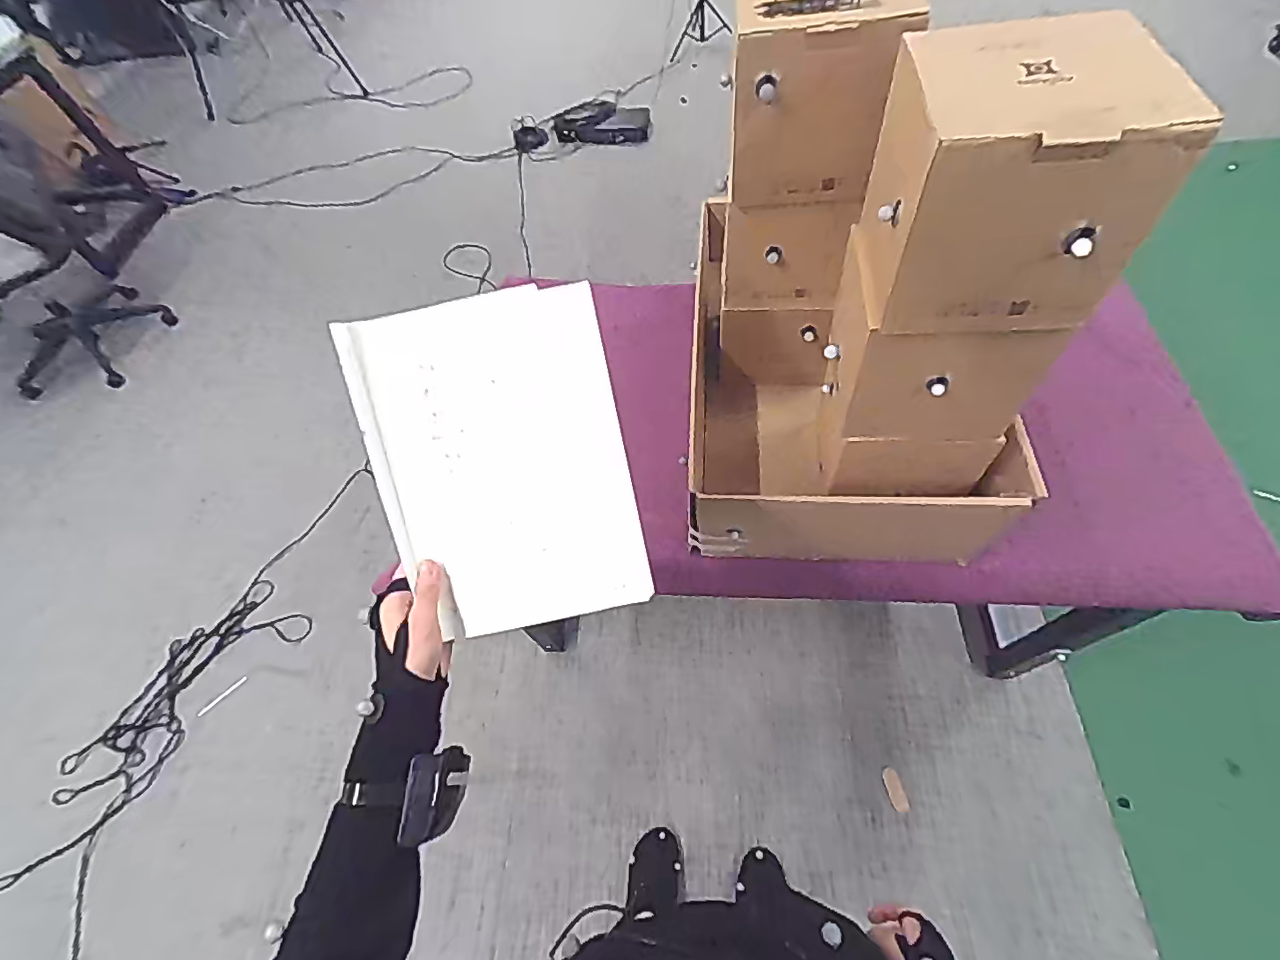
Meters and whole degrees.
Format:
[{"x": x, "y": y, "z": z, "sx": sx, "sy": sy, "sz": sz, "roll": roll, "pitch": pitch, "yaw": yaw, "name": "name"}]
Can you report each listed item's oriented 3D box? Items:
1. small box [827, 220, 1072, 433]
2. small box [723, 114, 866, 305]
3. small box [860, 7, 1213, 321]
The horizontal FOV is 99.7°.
[{"x": 0.312, "y": -0.164, "z": 0.591, "sx": 0.179, "sy": 0.176, "sz": 0.168, "roll": 1, "pitch": 57, "yaw": 11, "name": "small box"}, {"x": 0.198, "y": -0.356, "z": 0.733, "sx": 0.168, "sy": 0.176, "sz": 0.179, "roll": 2, "pitch": 60, "yaw": 9, "name": "small box"}, {"x": 0.292, "y": -0.250, "z": 0.454, "sx": 0.168, "sy": 0.176, "sz": 0.179, "roll": 2, "pitch": 57, "yaw": 10, "name": "small box"}]
